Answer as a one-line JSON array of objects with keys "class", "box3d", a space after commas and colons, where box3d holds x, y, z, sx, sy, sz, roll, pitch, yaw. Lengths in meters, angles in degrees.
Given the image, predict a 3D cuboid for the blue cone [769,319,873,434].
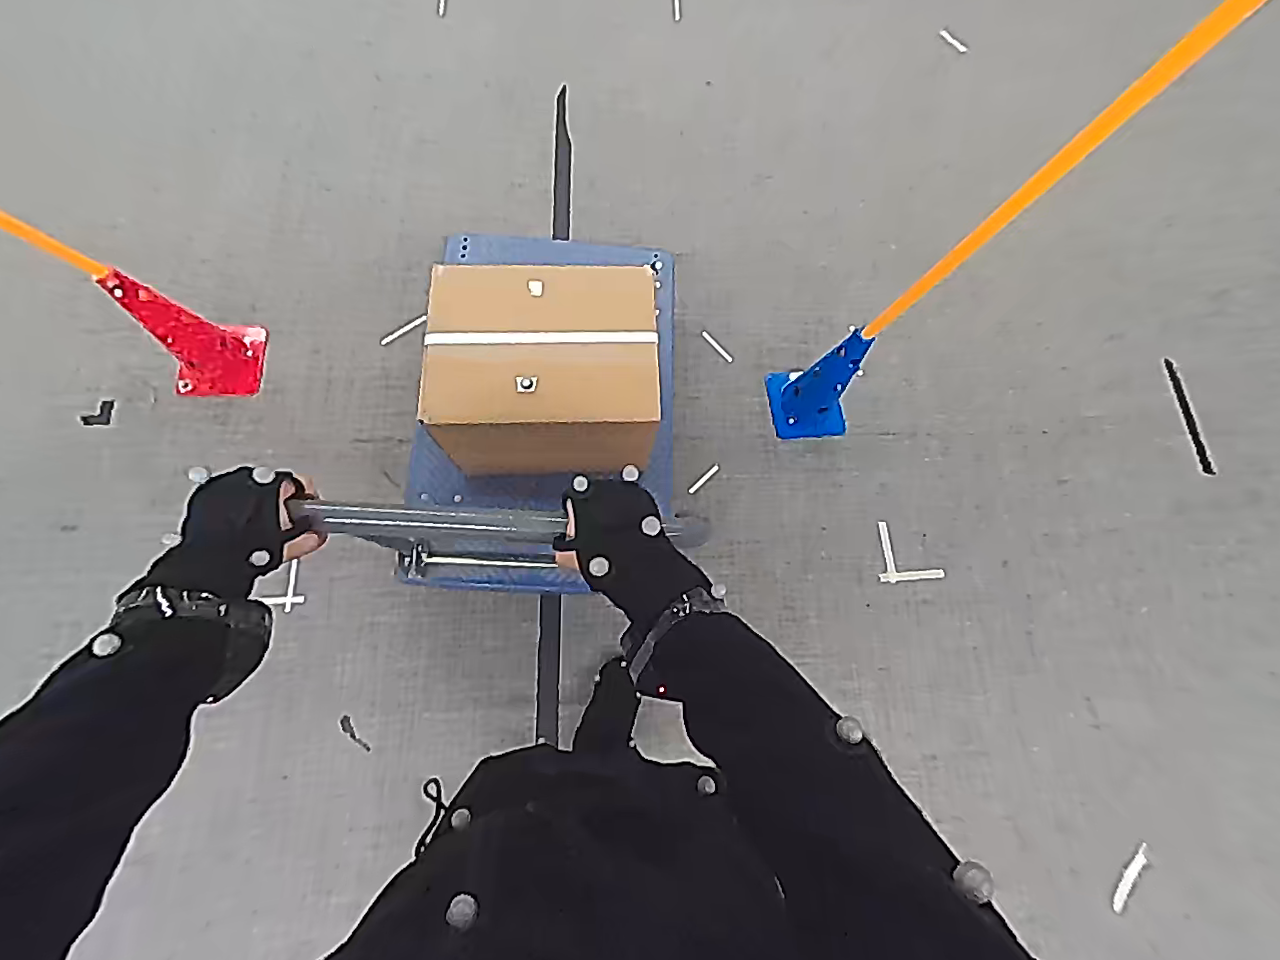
[{"class": "blue cone", "box3d": [0.474, -0.267, 1.335, 0.193, 0.380, 0.192, -4, 73, -6]}]
